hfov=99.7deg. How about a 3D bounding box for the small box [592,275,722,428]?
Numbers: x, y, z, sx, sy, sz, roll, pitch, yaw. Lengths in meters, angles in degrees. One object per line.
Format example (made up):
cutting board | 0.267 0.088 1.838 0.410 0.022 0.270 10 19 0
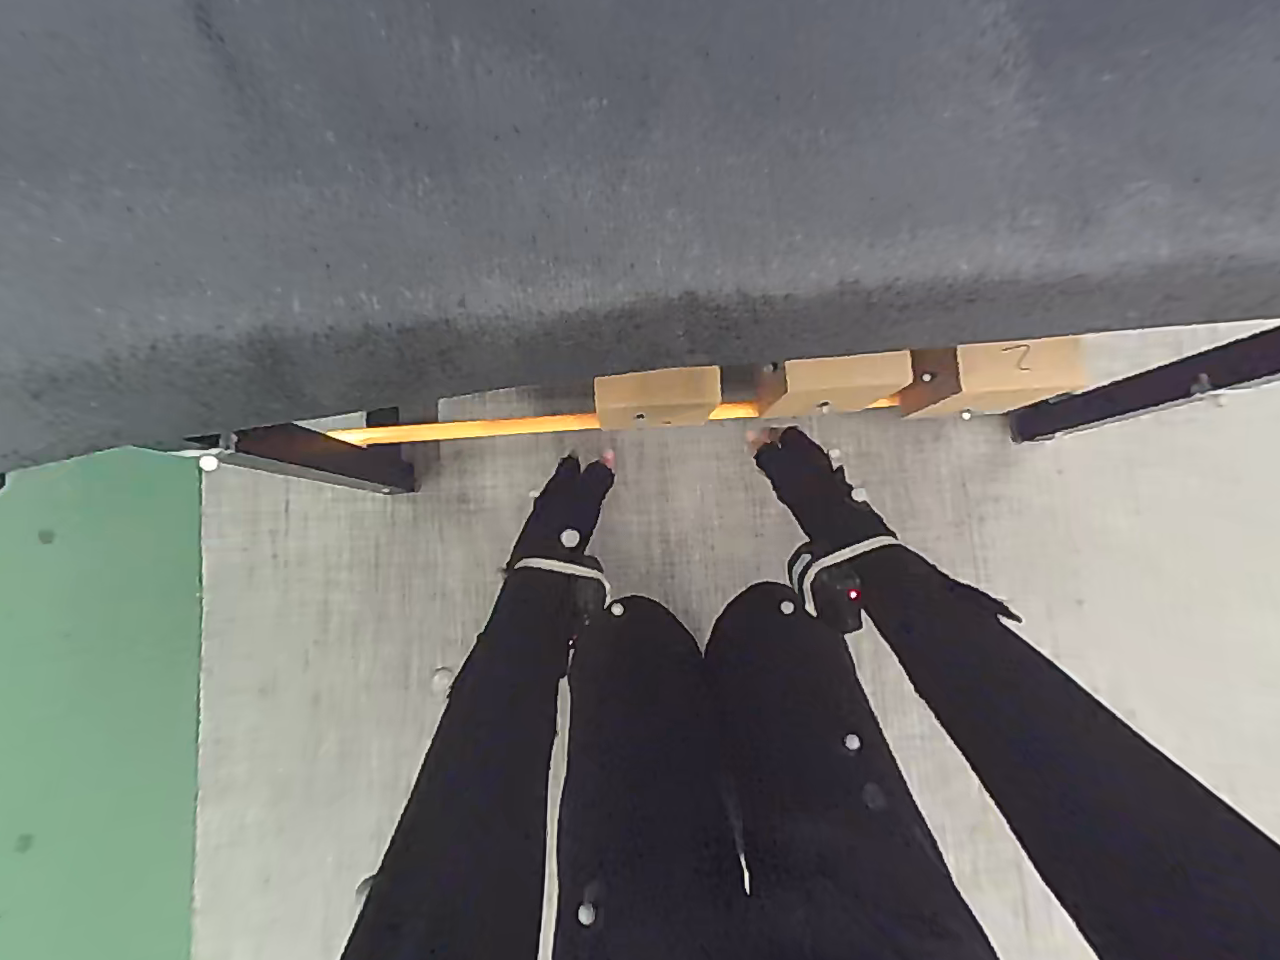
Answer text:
small box | 0.022 -0.173 0.783 0.168 0.176 0.179 -3 84 -2

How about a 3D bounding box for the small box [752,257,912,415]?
small box | 0.266 -0.196 0.787 0.168 0.176 0.179 -5 84 -1
